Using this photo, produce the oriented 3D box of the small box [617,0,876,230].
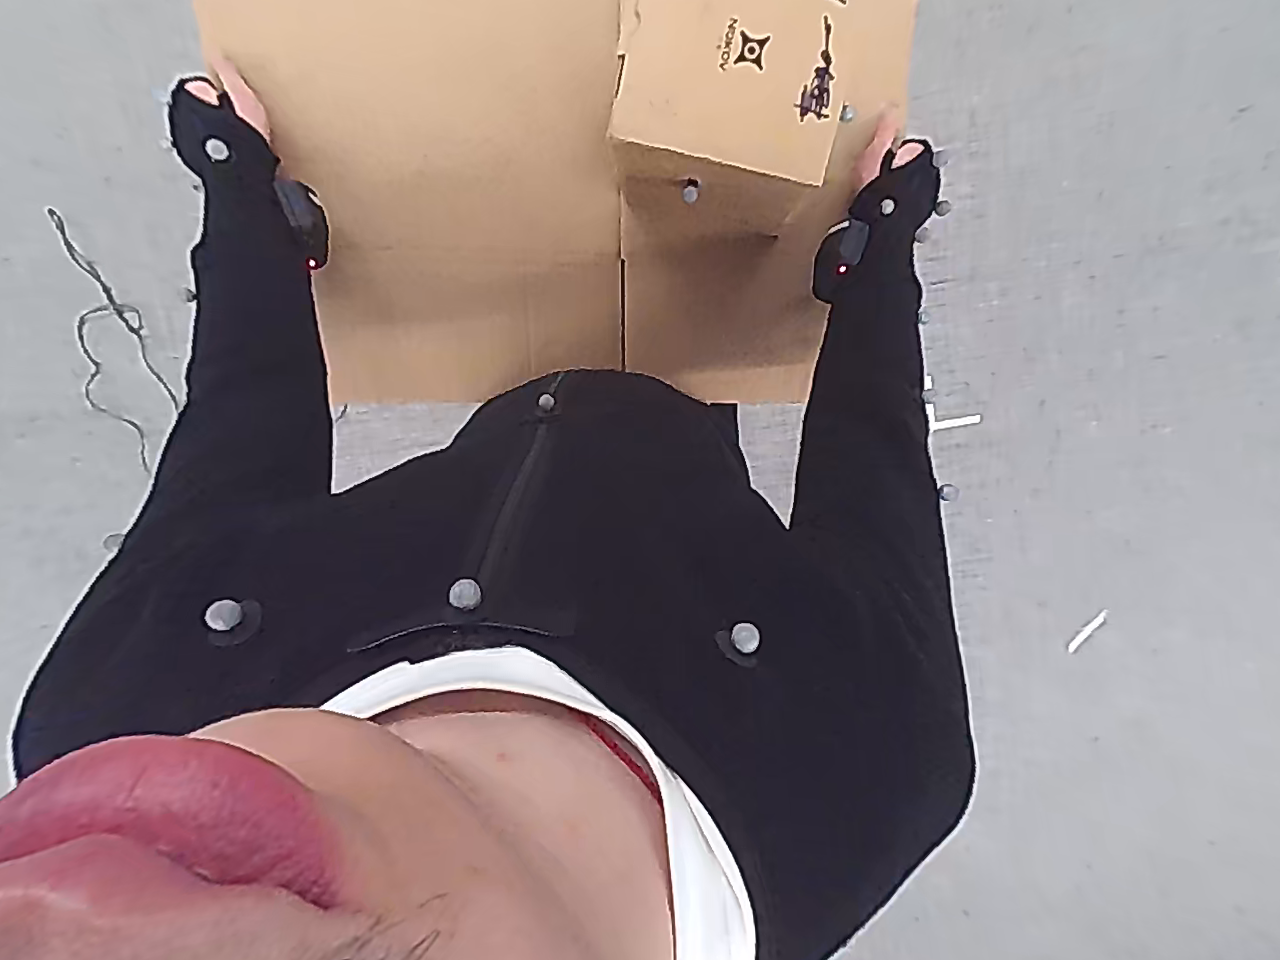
[{"bbox_3d":[0.088,-0.349,0.498,0.179,0.176,0.168,14,102,1],"label":"small box"}]
